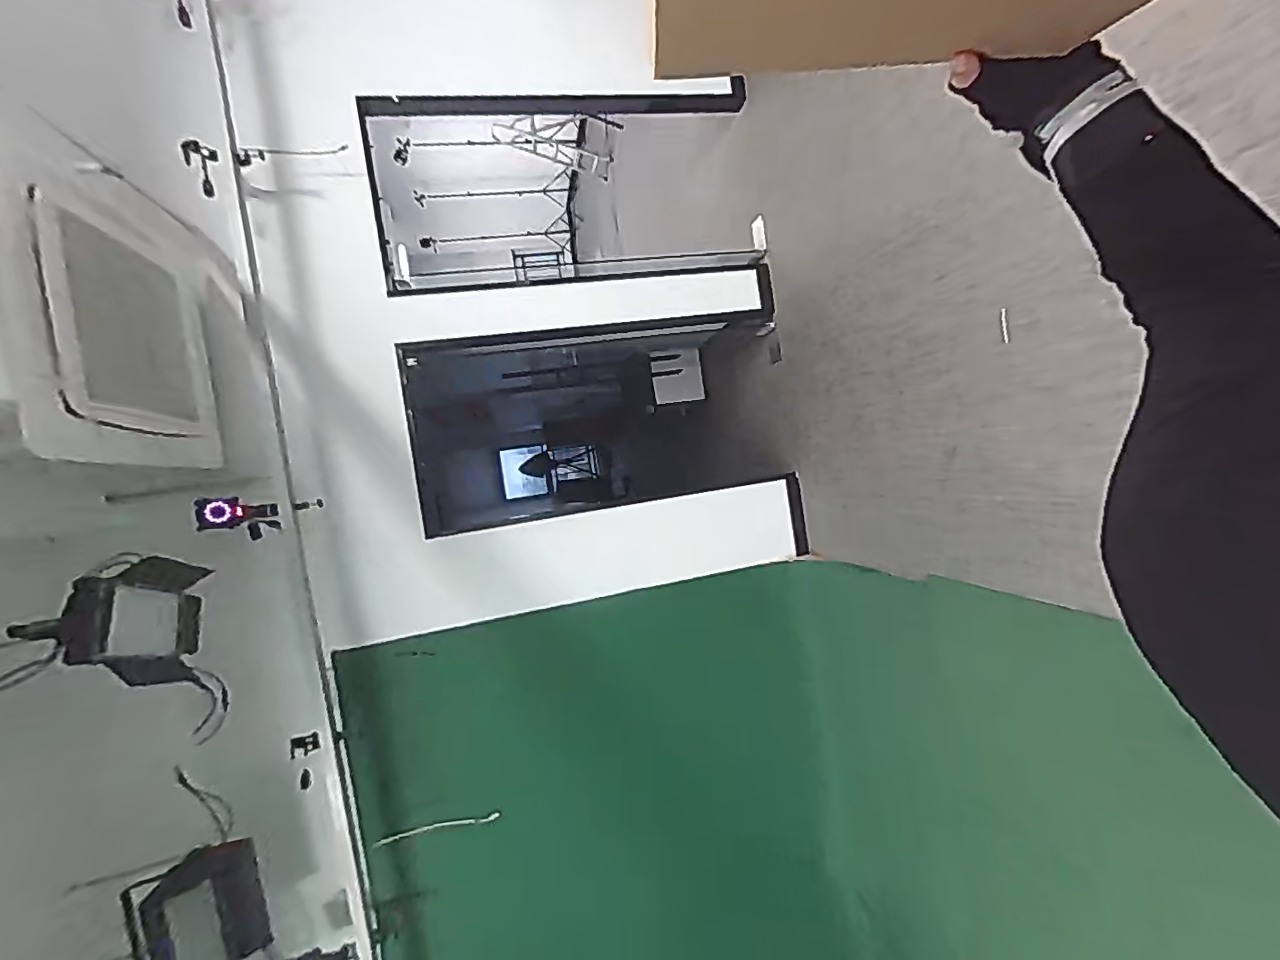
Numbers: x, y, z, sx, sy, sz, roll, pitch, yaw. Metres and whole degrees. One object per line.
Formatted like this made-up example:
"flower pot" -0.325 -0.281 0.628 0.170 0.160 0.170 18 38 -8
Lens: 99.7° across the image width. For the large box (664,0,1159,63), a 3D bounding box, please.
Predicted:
"large box" 0.170 -0.403 0.171 0.408 0.320 0.320 -91 -2 -73
